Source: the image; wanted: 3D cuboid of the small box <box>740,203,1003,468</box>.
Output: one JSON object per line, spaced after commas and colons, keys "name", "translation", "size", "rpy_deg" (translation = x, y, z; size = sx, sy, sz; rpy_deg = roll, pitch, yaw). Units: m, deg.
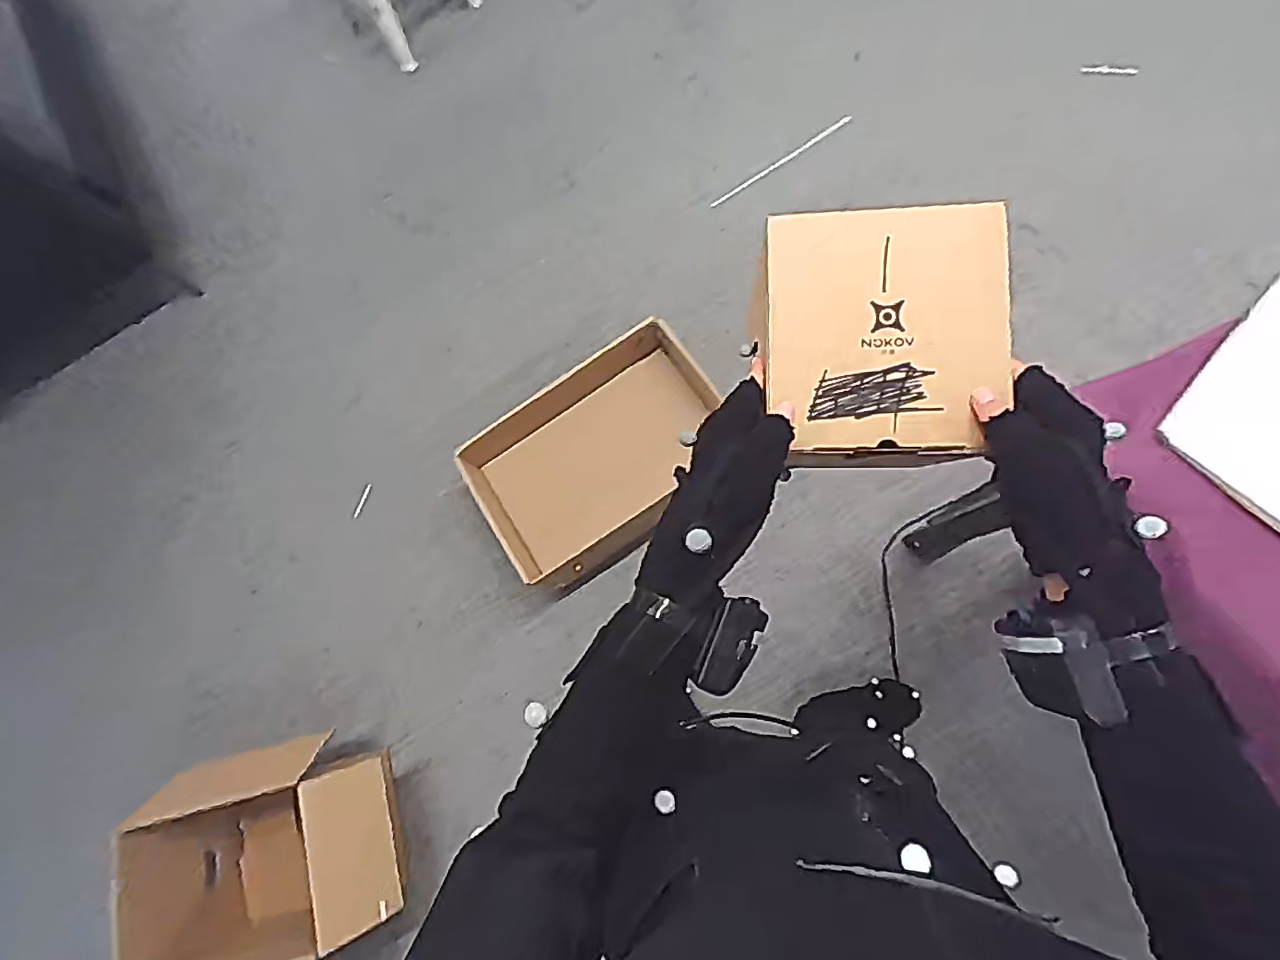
{"name": "small box", "translation": [0.174, -0.100, 0.456], "size": [0.168, 0.176, 0.179], "rpy_deg": [0, 87, 7]}
